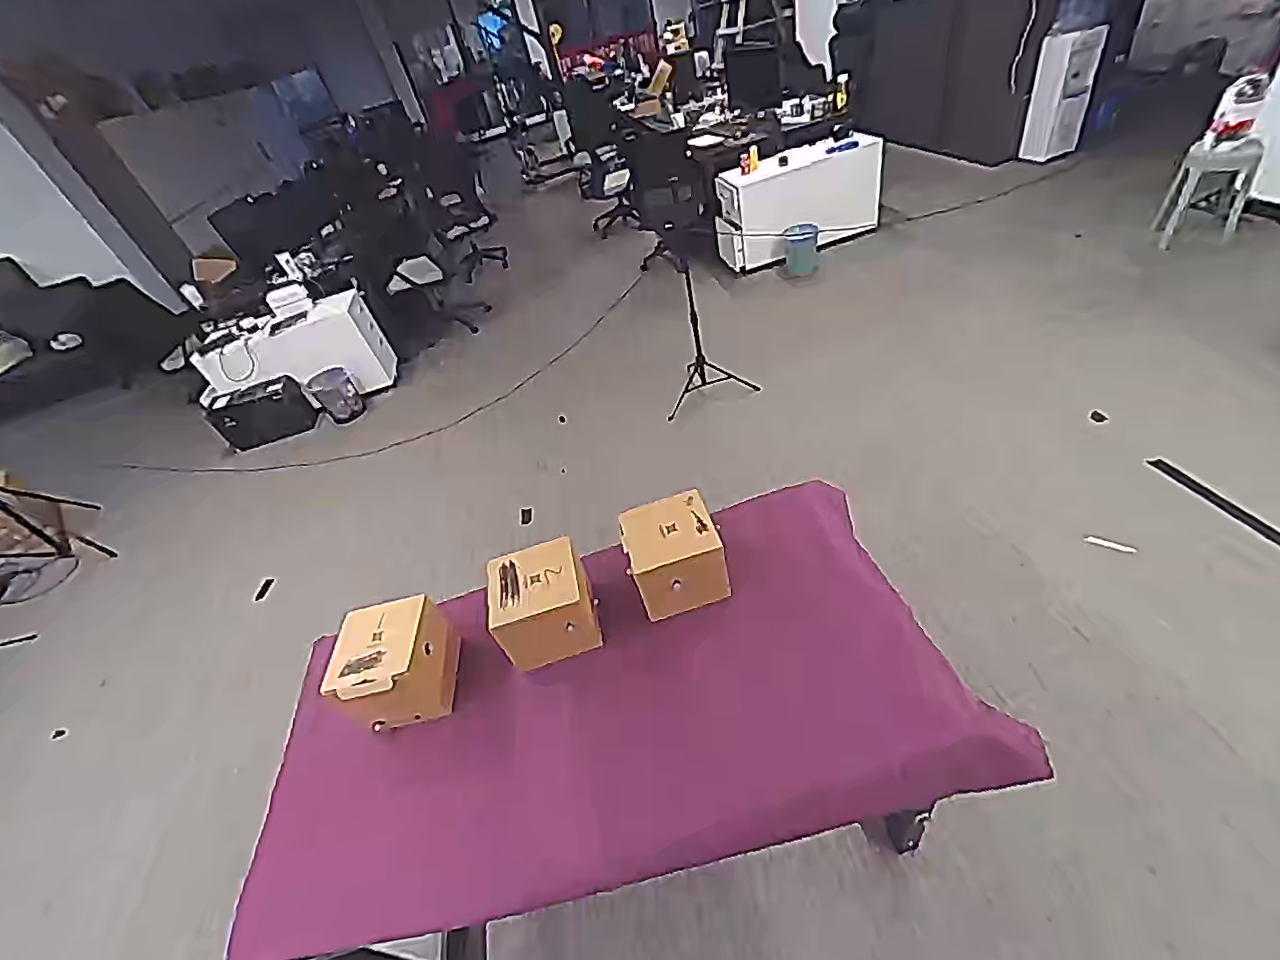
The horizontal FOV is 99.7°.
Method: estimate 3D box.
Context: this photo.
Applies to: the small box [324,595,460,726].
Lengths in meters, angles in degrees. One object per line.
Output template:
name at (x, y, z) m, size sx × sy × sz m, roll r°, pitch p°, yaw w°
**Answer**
small box at (-0.469, 0.358, 1.055) m, size 0.168 × 0.176 × 0.179 m, roll -14°, pitch 41°, yaw 3°
